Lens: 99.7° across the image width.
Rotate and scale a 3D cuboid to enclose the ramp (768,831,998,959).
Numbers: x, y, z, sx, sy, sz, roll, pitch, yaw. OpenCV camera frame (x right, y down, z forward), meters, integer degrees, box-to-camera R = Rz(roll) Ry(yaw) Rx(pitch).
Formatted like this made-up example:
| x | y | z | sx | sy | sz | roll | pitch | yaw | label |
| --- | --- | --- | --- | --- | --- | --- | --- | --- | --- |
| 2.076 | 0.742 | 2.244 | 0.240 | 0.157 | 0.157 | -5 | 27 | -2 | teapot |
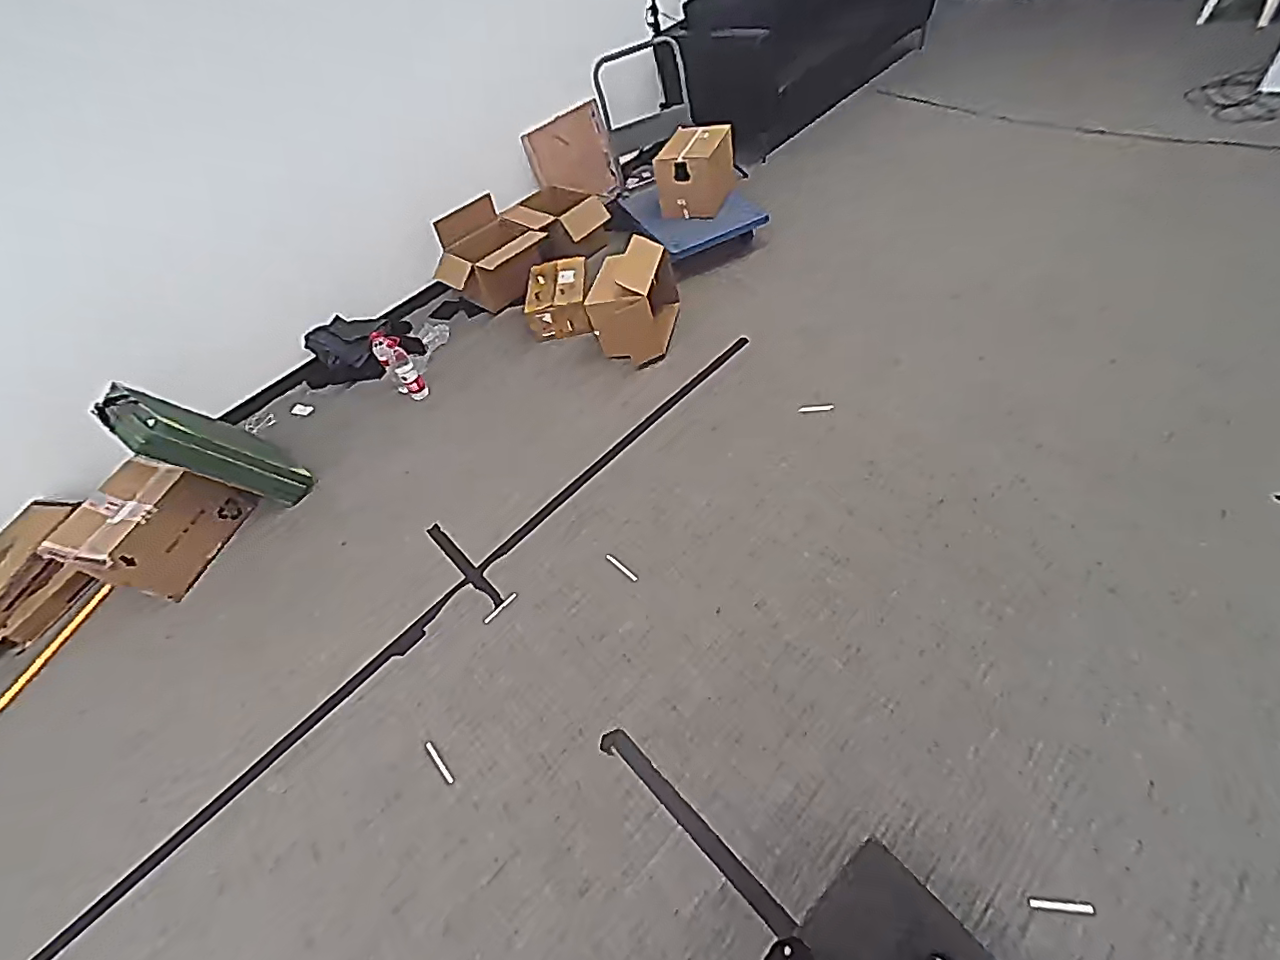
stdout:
| x | y | z | sx | sy | sz | roll | pitch | yaw | label |
| --- | --- | --- | --- | --- | --- | --- | --- | --- | --- |
| 0.646 | 1.183 | 0.871 | 0.509 | 0.206 | 0.991 | -41 | 54 | -20 | ramp |
